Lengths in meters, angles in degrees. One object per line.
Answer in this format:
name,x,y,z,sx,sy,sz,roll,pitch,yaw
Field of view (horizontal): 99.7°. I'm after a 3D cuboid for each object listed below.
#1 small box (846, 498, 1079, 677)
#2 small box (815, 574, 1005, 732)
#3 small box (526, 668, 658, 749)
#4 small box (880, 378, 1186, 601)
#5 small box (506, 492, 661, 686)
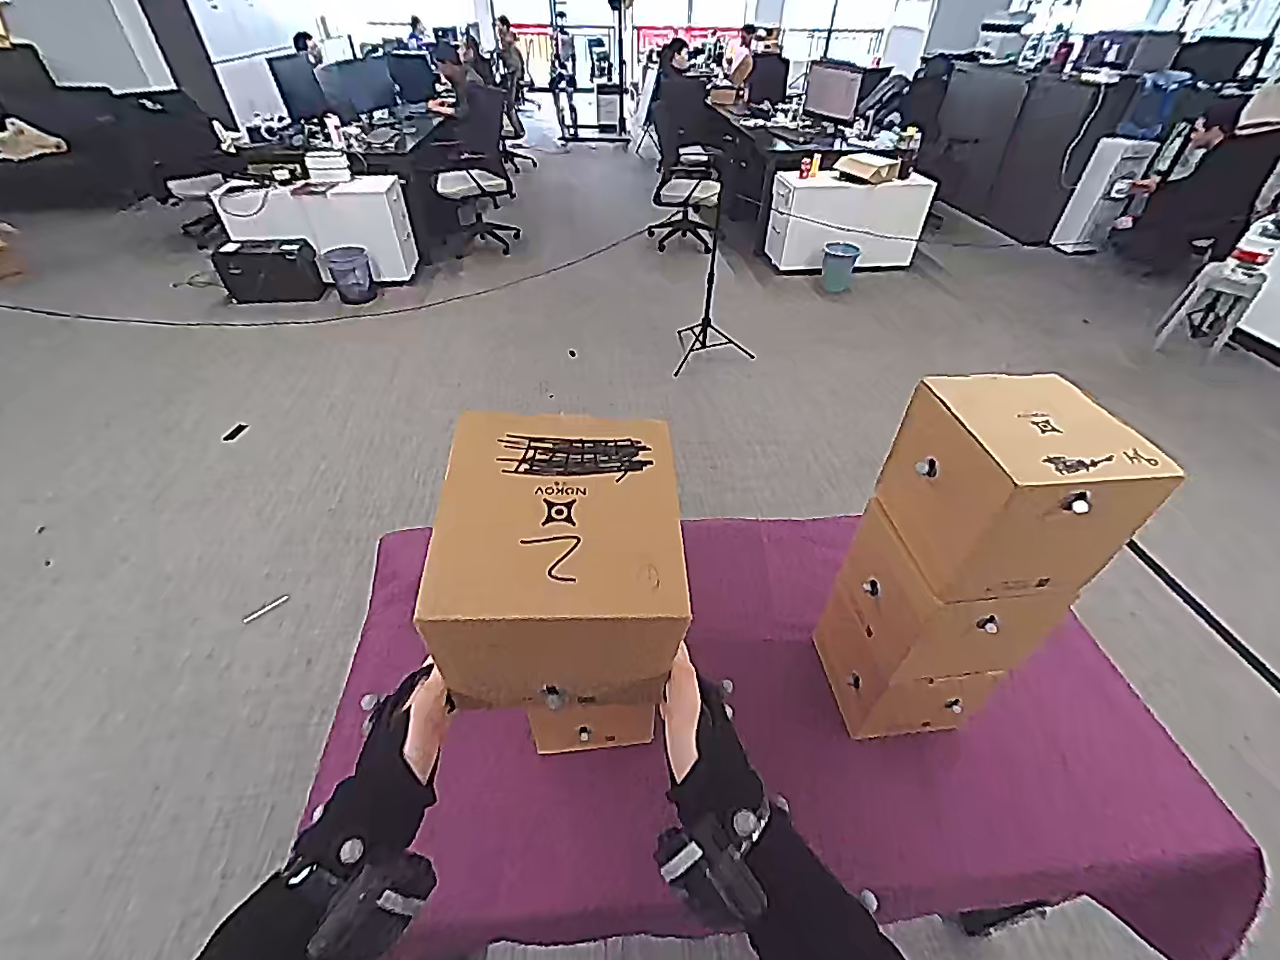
small box,0.381,0.133,0.687,0.179,0.176,0.168,-3,43,-6
small box,0.379,0.254,0.798,0.168,0.176,0.179,-3,42,-5
small box,-0.070,0.261,0.781,0.168,0.176,0.179,-3,43,-6
small box,0.389,0.007,0.582,0.168,0.176,0.179,-3,42,-5
small box,-0.068,0.138,0.671,0.168,0.176,0.179,-4,42,-7
